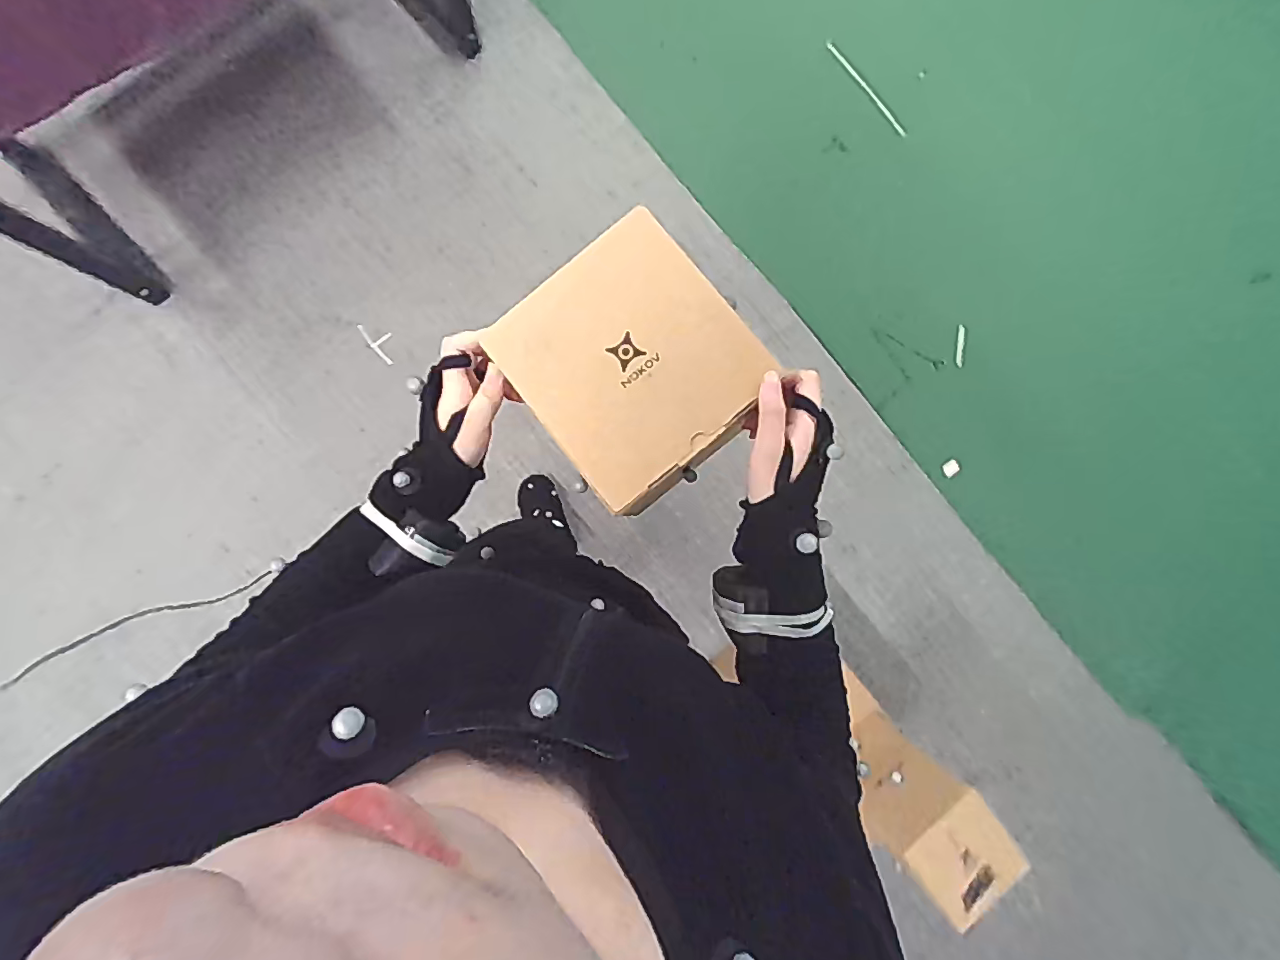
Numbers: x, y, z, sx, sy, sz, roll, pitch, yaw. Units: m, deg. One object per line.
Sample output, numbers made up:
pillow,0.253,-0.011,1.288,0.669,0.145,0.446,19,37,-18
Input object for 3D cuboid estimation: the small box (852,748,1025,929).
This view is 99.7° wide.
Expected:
small box,0.529,0.631,0.979,0.168,0.176,0.179,-37,93,-7

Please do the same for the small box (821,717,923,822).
small box,0.523,0.644,1.144,0.168,0.176,0.179,-39,93,-7
